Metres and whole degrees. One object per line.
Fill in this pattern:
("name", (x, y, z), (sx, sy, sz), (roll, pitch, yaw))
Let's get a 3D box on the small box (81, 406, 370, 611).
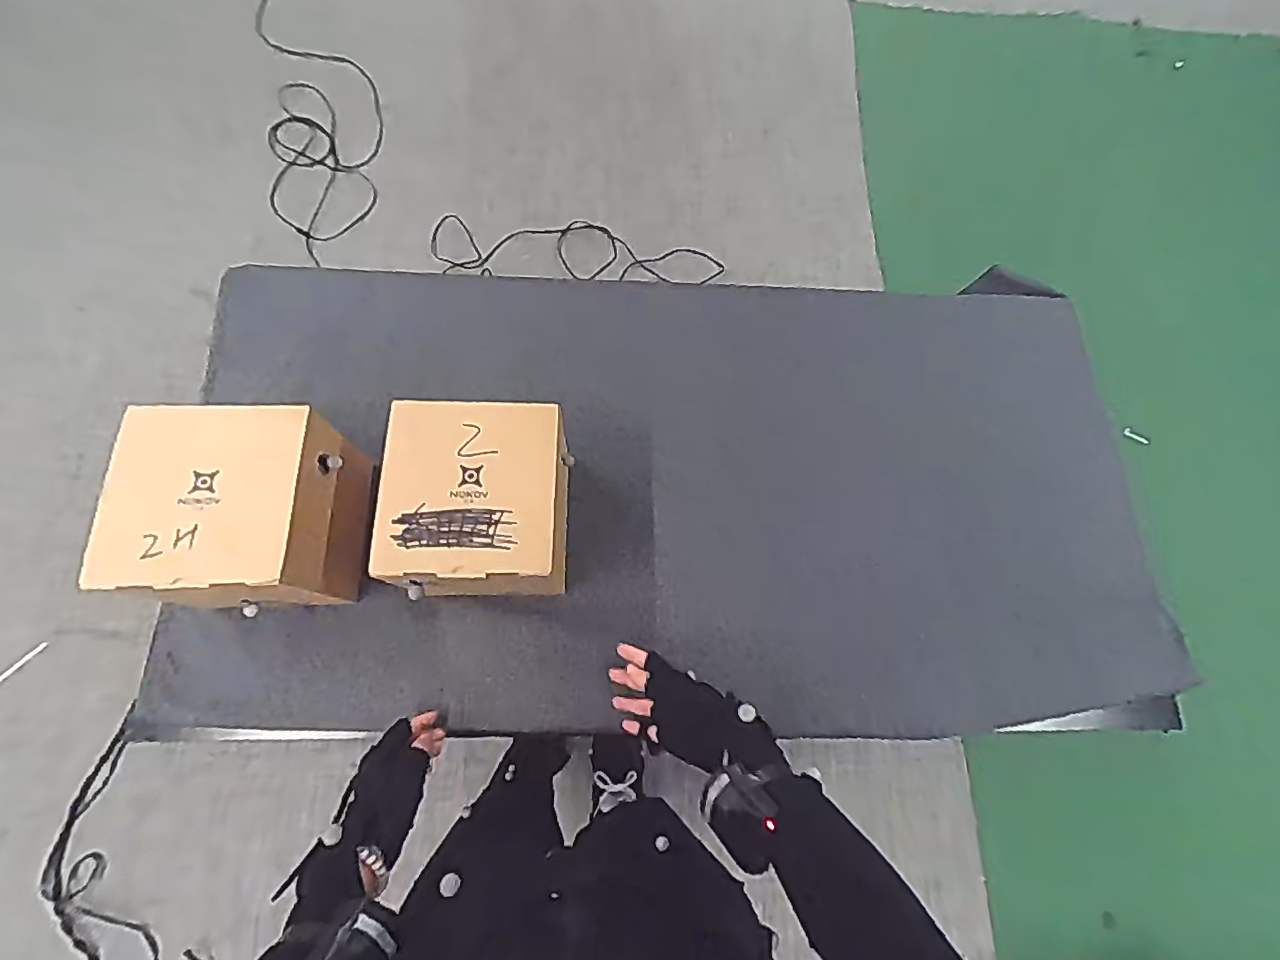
("small box", (-0.403, 0.038, 0.567), (0.168, 0.176, 0.179), (0, 71, -6))
